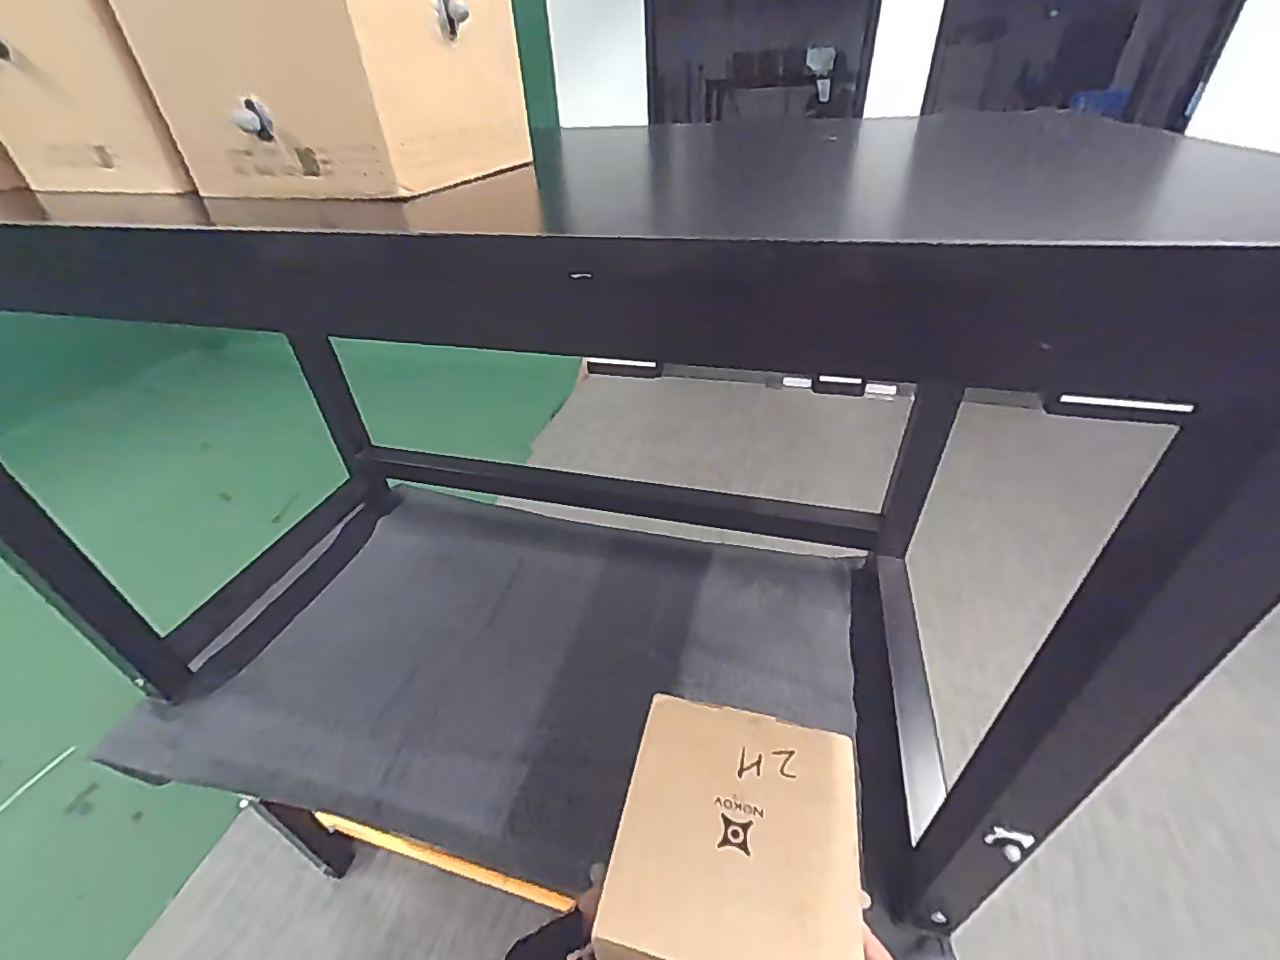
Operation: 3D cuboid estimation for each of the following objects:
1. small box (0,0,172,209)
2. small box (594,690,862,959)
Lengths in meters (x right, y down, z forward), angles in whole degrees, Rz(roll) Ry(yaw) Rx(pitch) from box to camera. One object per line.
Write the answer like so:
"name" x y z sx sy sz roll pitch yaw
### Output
"small box" -0.567 -0.347 0.469 0.168 0.176 0.179 9 39 15
"small box" 0.073 0.308 0.435 0.168 0.176 0.179 8 37 12
